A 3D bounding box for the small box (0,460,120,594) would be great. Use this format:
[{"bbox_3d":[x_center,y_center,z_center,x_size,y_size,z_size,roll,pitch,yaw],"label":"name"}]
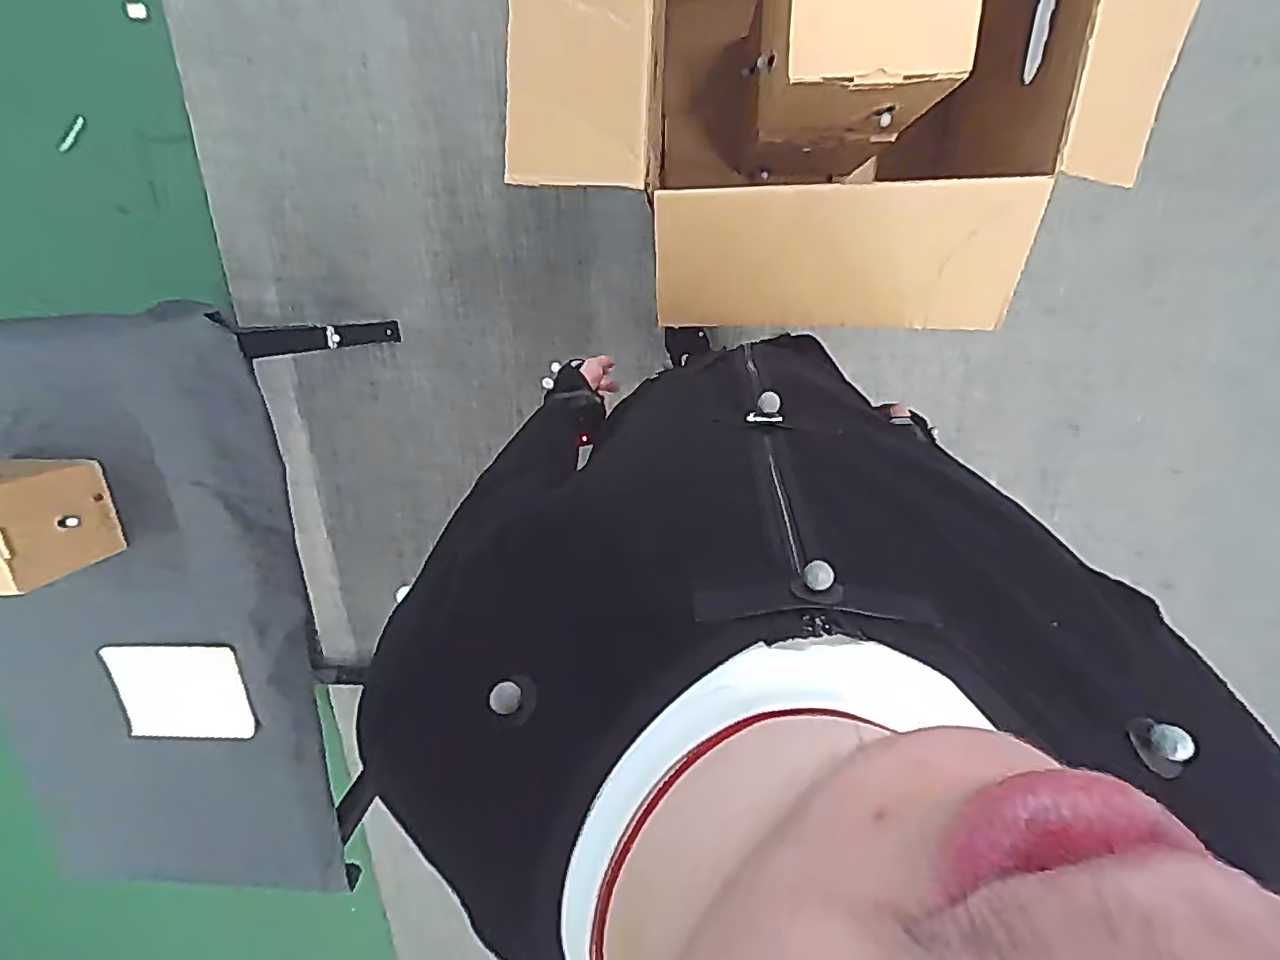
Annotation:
[{"bbox_3d":[-0.992,0.068,0.860,0.179,0.176,0.168,0,107,4],"label":"small box"}]
